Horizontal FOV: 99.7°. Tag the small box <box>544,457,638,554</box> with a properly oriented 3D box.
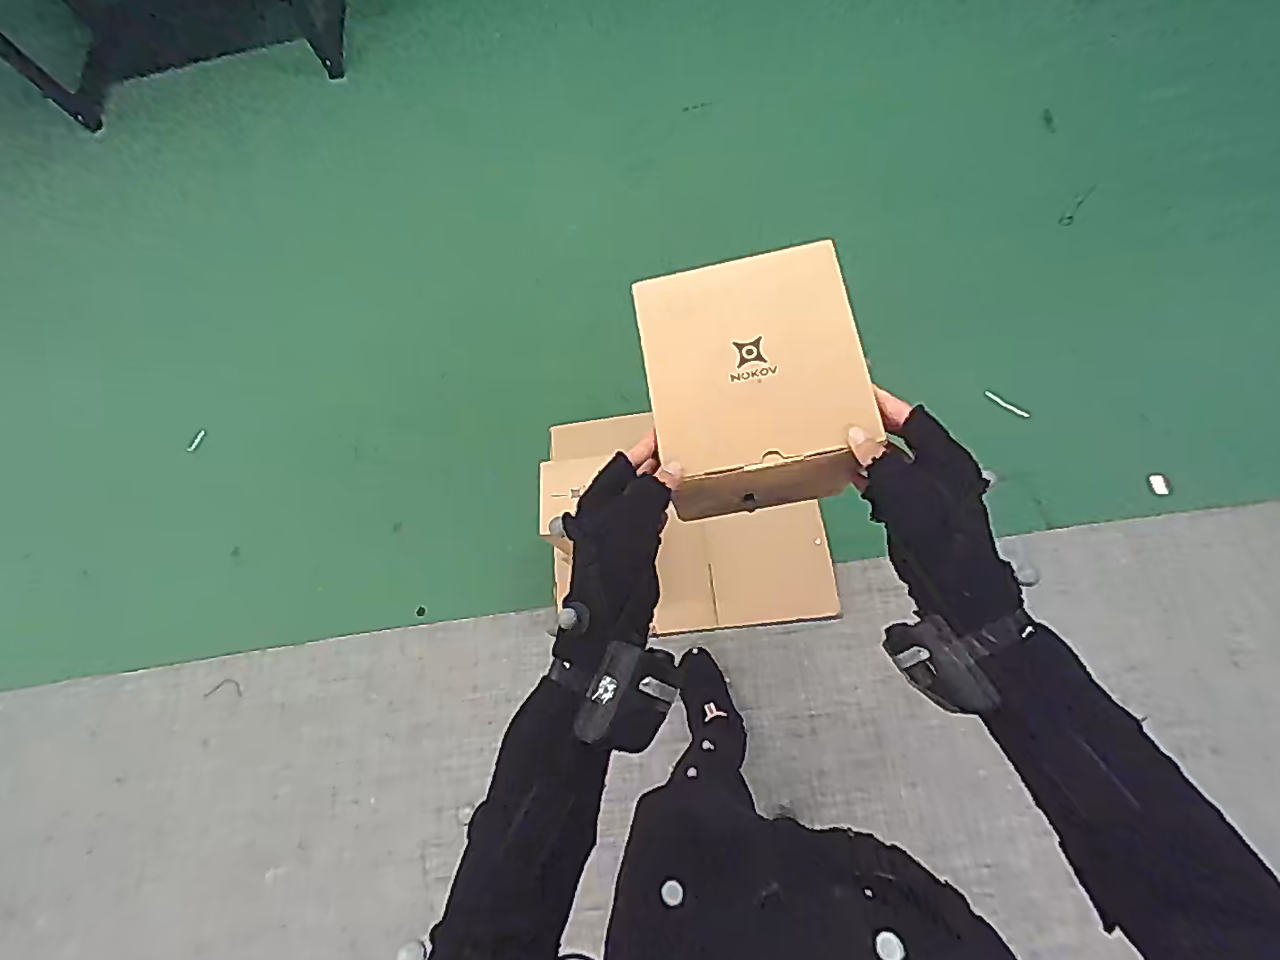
[{"bbox_3d":[-0.101,0.062,1.196,0.179,0.176,0.168,-6,69,9],"label":"small box"}]
